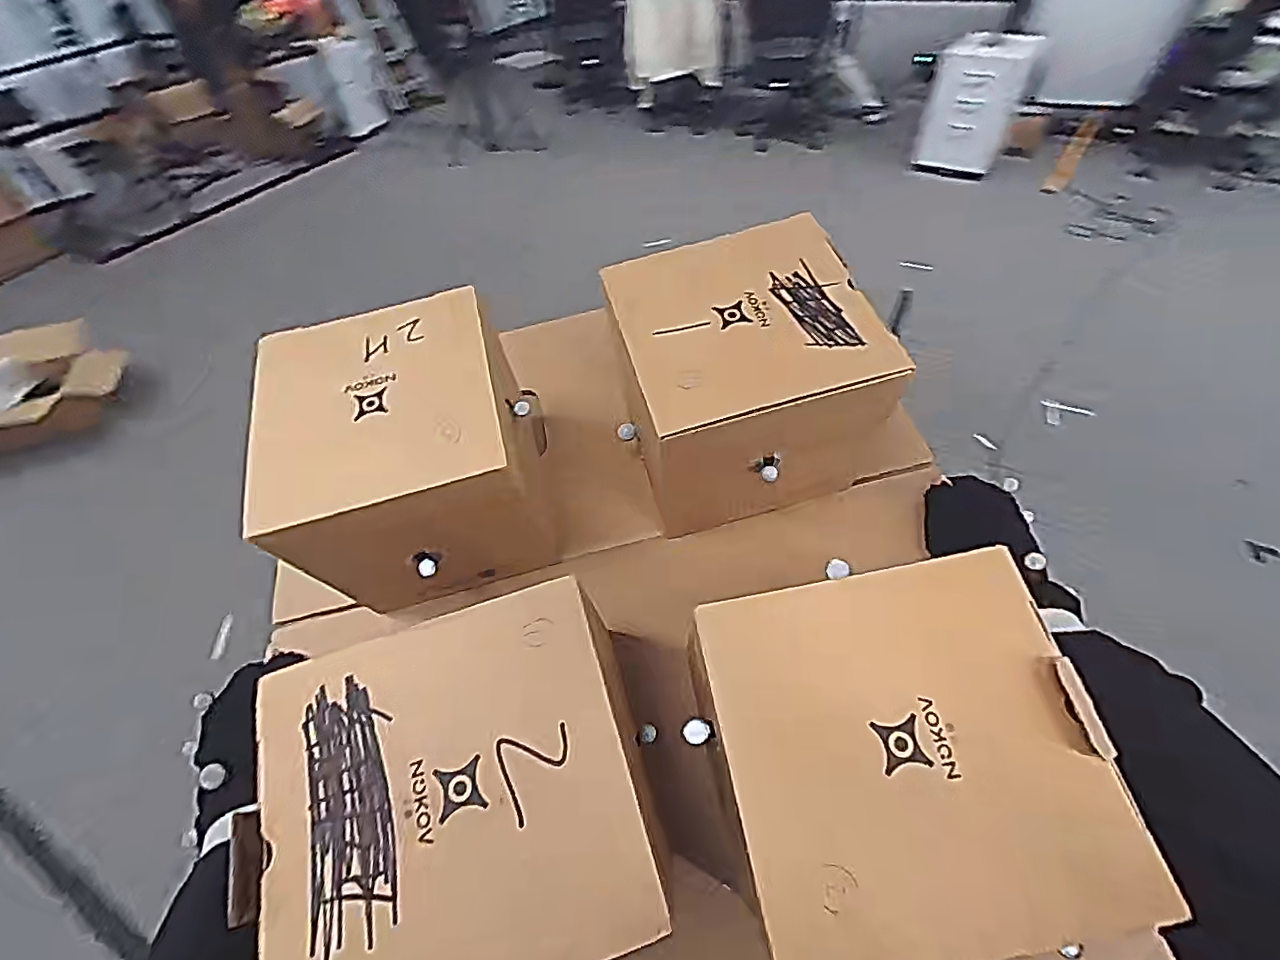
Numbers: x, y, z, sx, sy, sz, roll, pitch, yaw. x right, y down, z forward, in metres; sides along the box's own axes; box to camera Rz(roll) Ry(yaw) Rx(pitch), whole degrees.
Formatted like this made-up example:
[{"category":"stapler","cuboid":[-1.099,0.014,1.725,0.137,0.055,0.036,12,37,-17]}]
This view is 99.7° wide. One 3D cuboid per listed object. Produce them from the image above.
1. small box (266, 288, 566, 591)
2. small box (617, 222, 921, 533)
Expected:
[{"category":"small box","cuboid":[-0.166,-0.020,0.449,0.168,0.176,0.179,-14,60,-3]},{"category":"small box","cuboid":[0.089,-0.075,0.453,0.179,0.176,0.168,-15,61,-1]}]
